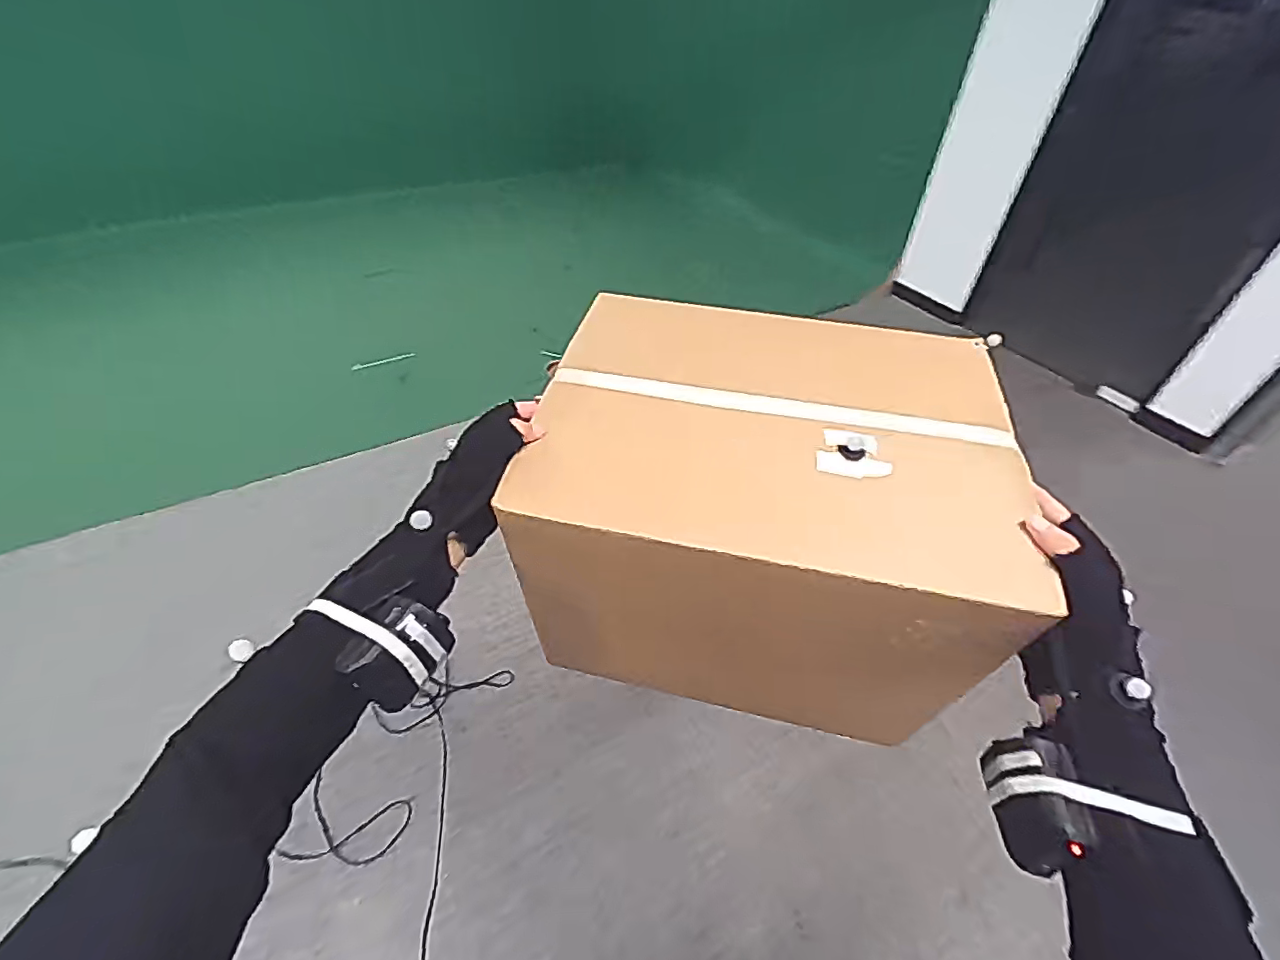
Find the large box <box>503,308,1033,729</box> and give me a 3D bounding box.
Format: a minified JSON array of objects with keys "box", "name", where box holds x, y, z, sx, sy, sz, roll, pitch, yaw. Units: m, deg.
[{"box":[0.108,0.042,0.609,0.408,0.320,0.320,10,50,7],"name":"large box"}]
